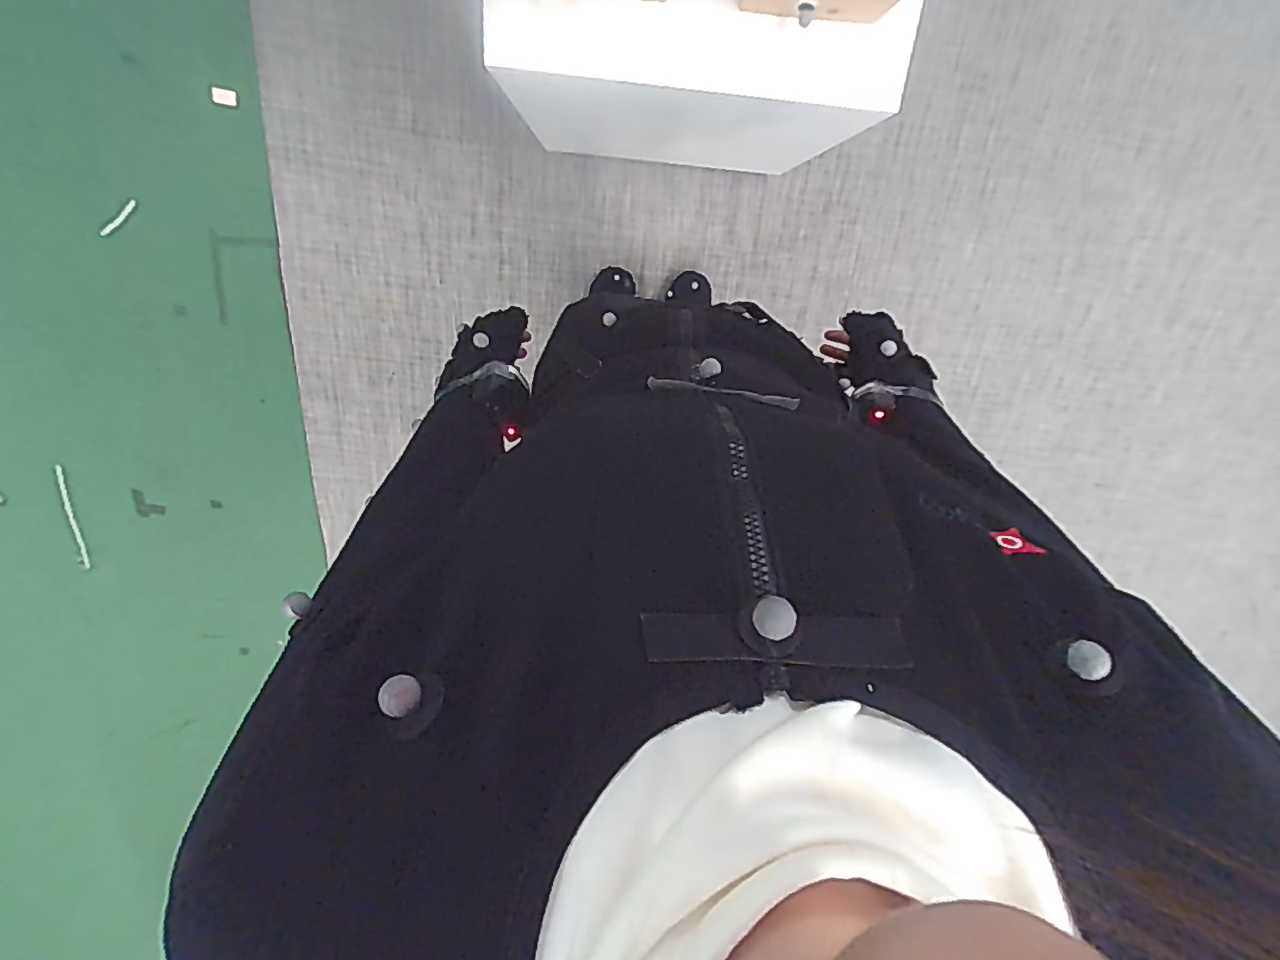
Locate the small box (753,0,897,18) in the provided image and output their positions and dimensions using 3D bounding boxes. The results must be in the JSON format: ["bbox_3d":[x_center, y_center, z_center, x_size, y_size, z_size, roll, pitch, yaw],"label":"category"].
[{"bbox_3d":[0.203,-0.581,0.510,0.168,0.176,0.179,2,114,-1],"label":"small box"}]
